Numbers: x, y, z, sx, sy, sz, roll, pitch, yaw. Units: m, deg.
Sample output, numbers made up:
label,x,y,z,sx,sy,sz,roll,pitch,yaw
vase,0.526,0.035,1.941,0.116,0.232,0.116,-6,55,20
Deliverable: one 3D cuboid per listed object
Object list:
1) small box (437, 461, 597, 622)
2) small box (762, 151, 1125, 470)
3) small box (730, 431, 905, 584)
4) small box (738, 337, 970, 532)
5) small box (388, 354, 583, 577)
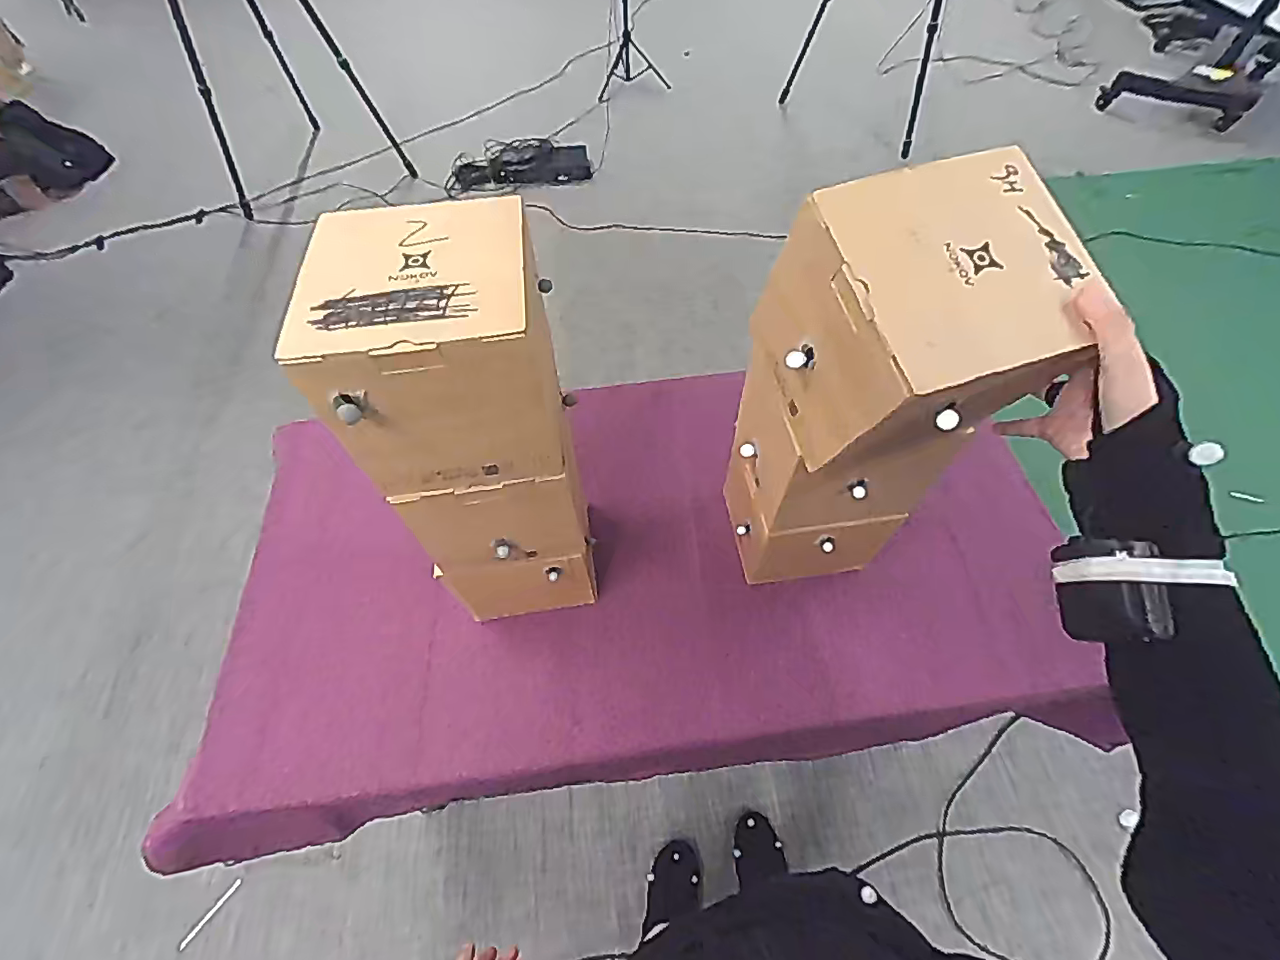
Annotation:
label,x,y,z,sx,sy,sz,roll,pitch,yaw
small box,-0.160,0.082,0.744,0.179,0.176,0.168,-9,57,-4
small box,0.215,-0.123,0.446,0.179,0.176,0.168,-17,76,-8
small box,0.228,0.034,0.758,0.179,0.176,0.168,-7,58,-3
small box,0.223,-0.056,0.620,0.179,0.176,0.168,-8,58,-2
small box,-0.160,-0.013,0.608,0.168,0.176,0.179,-9,56,-4
